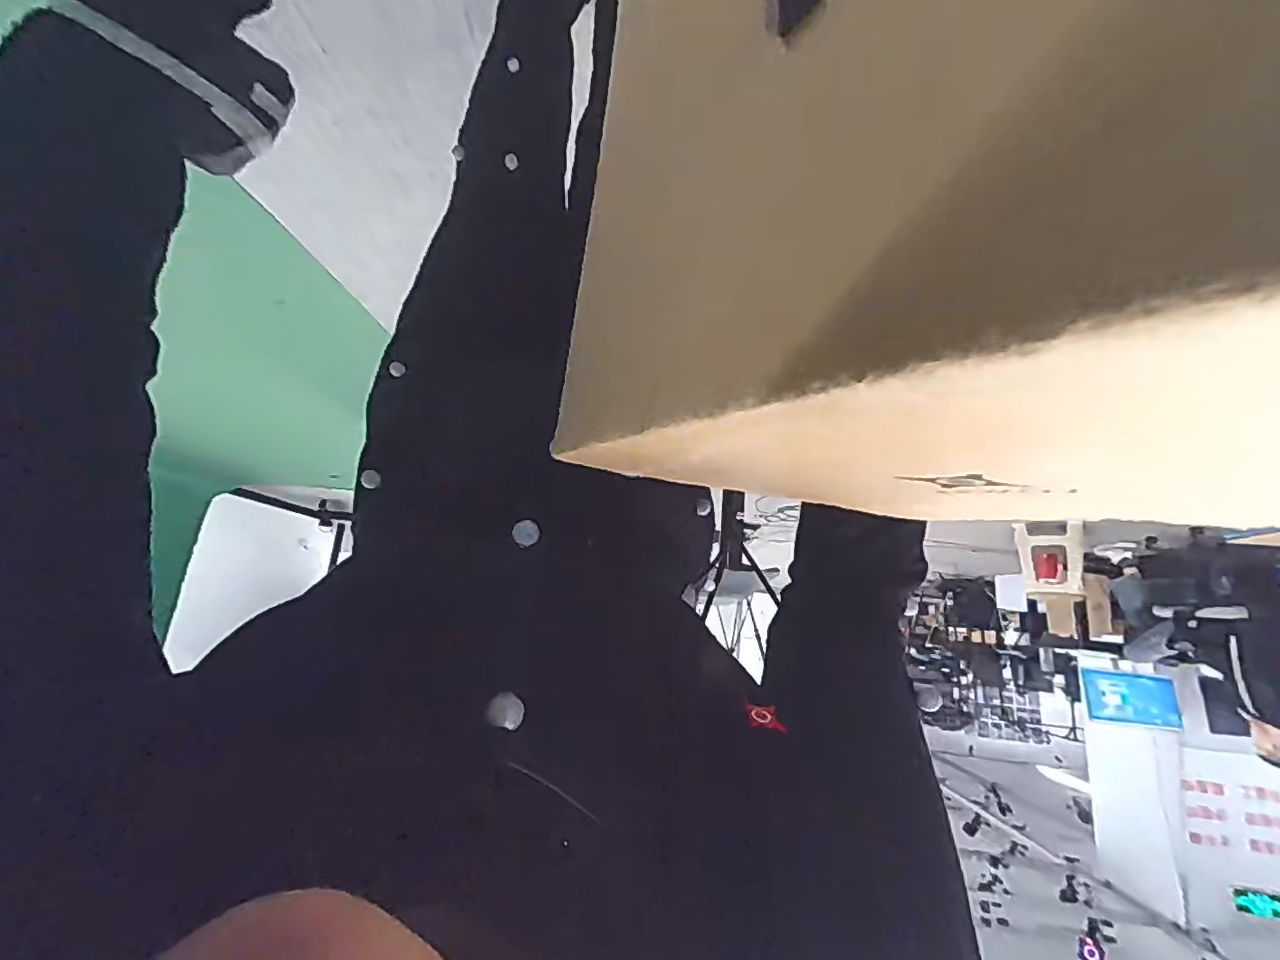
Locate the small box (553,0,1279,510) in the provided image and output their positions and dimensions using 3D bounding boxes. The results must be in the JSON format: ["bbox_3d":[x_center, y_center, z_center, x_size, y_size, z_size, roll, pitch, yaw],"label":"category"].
[{"bbox_3d":[0.093,-0.087,0.150,0.179,0.176,0.168,9,173,-26],"label":"small box"}]
